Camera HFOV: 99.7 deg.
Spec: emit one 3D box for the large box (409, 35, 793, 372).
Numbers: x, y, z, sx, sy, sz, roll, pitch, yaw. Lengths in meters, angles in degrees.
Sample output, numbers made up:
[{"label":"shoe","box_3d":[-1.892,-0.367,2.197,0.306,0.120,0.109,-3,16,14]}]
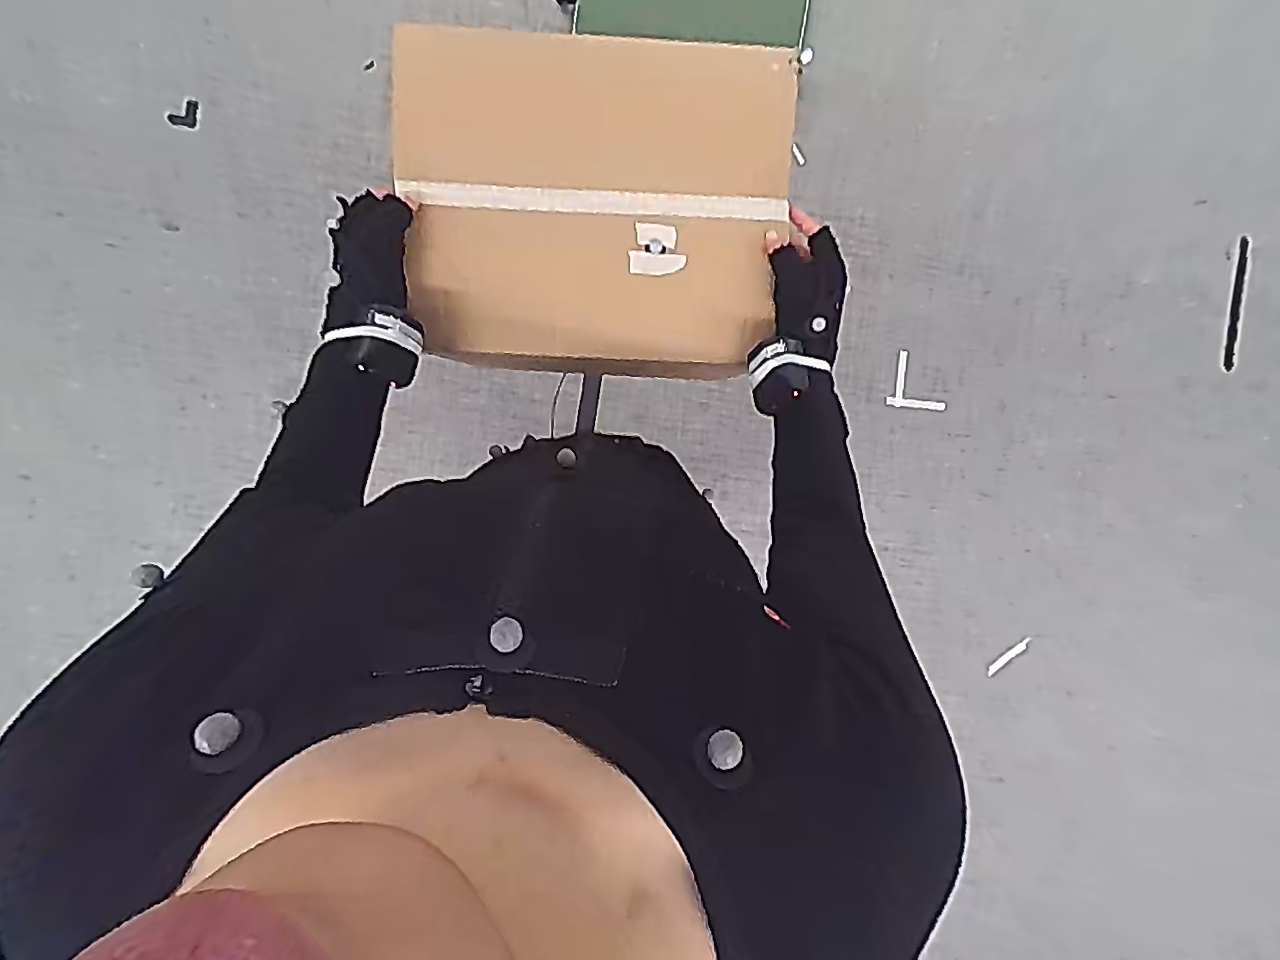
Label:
[{"label":"large box","box_3d":[-0.049,-0.315,0.722,0.408,0.320,0.320,2,98,-2]}]
